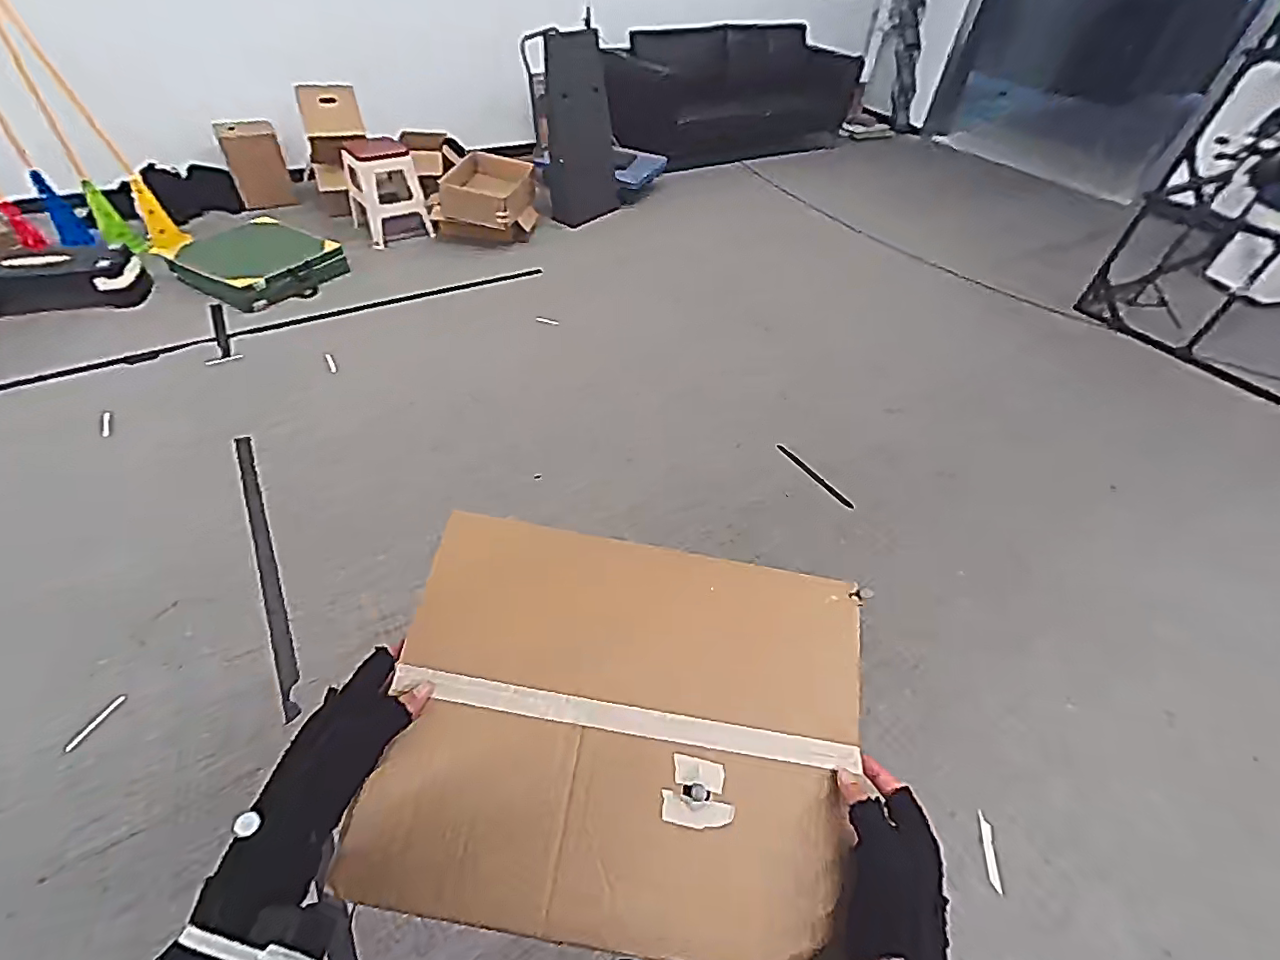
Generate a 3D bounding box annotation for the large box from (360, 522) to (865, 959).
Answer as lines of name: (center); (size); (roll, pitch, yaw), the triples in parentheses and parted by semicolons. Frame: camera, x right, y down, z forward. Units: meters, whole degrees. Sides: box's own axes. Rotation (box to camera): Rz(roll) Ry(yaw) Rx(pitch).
large box: (-0.010, 0.274, 0.611); (0.408, 0.320, 0.320); (11, 65, 1)
